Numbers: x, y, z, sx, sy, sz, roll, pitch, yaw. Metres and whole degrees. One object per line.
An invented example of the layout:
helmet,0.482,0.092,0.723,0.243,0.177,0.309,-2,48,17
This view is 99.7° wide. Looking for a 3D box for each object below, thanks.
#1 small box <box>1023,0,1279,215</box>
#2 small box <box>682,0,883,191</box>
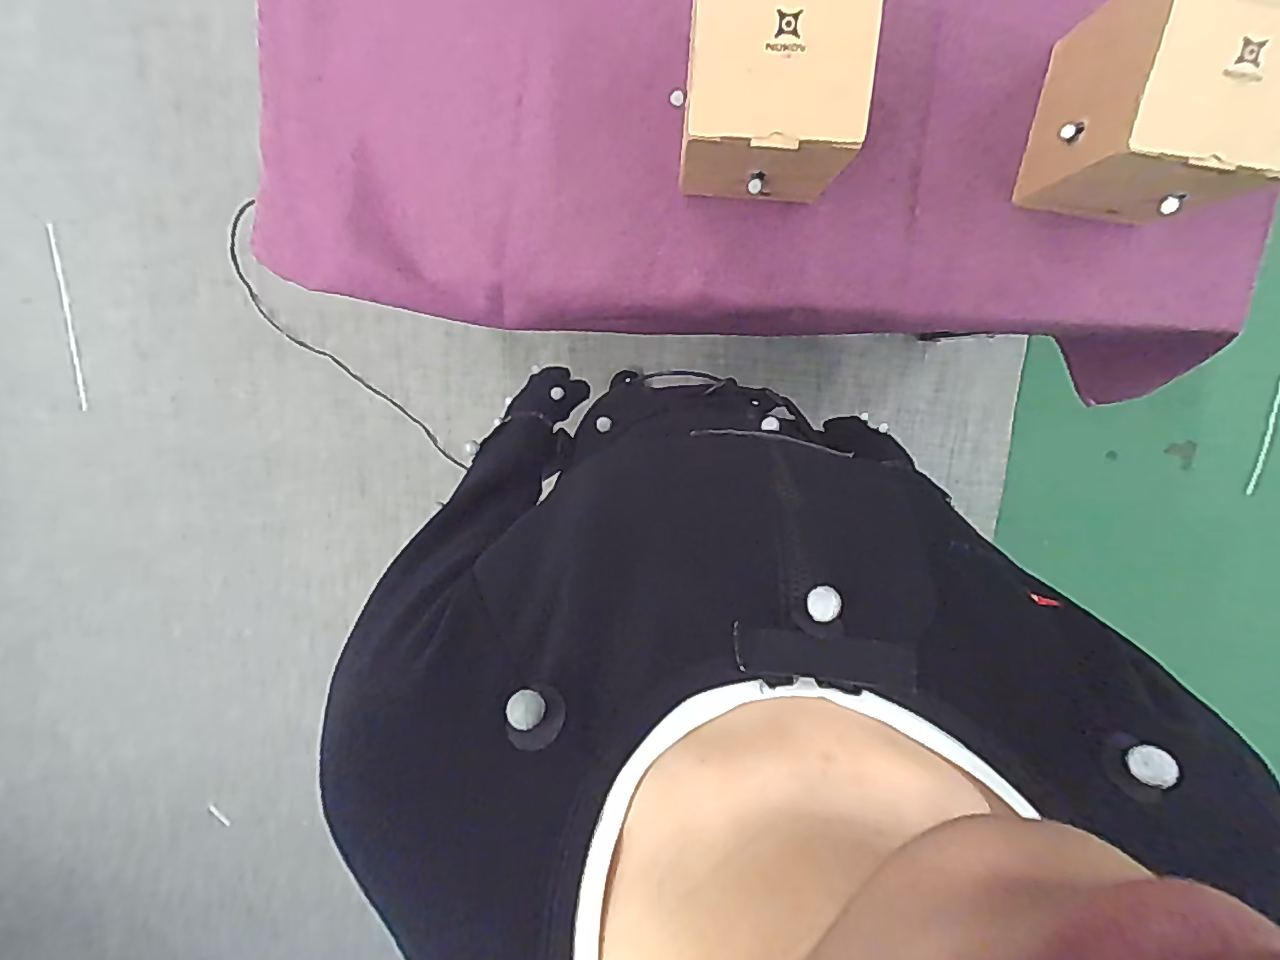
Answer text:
small box,0.538,-0.391,0.550,0.168,0.176,0.179,10,102,0
small box,0.133,-0.417,0.559,0.168,0.176,0.179,4,102,1
